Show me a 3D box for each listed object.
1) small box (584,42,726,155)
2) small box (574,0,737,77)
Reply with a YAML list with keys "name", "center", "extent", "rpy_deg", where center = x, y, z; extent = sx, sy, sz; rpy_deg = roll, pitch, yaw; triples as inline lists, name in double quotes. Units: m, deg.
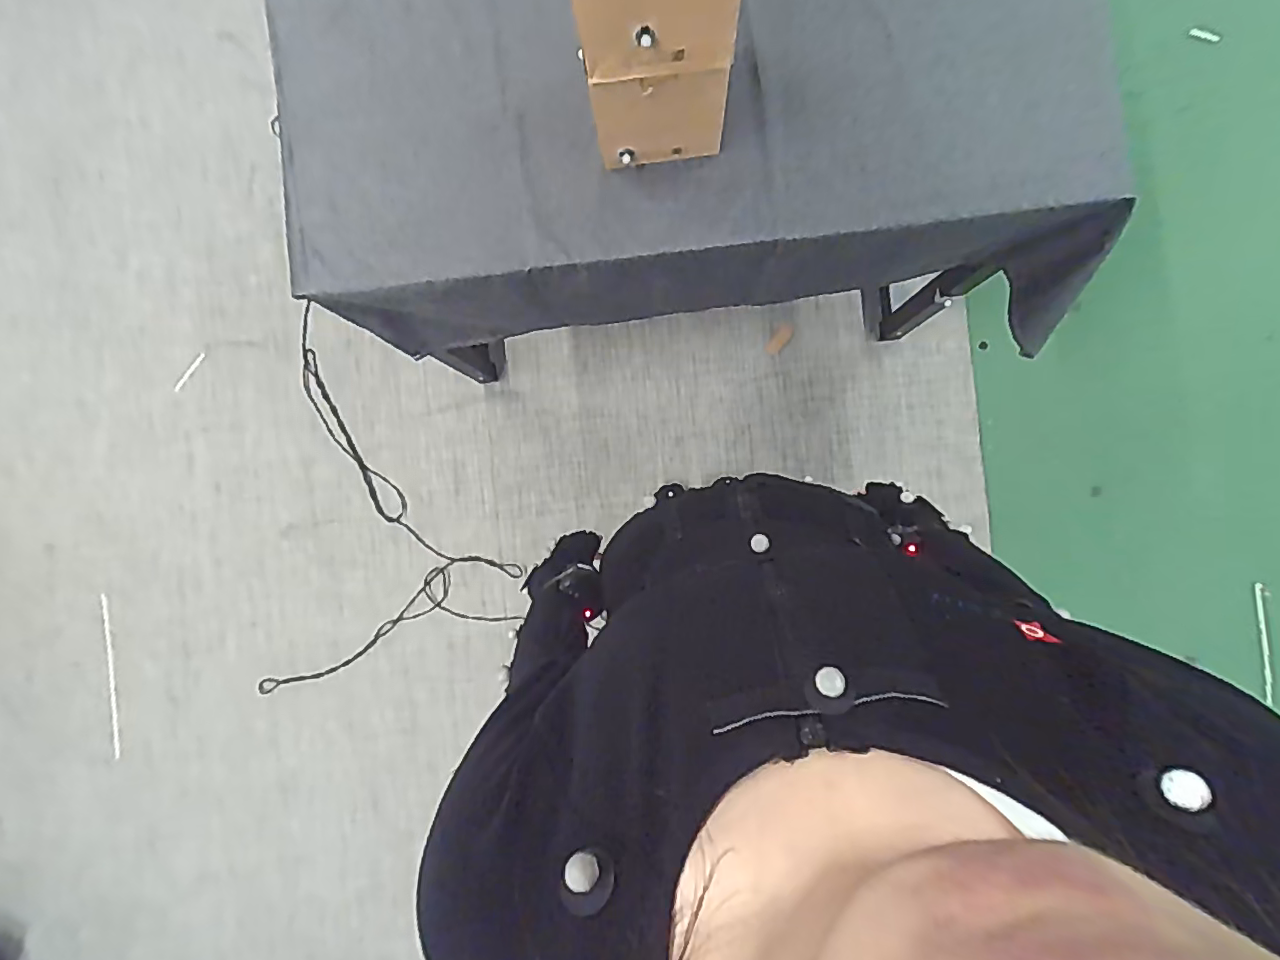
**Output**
- name: "small box"
  center: [0.019, -0.554, 0.703]
  extent: [0.168, 0.176, 0.179]
  rpy_deg: [-6, 87, 3]
- name: "small box"
  center: [0.010, -0.557, 0.541]
  extent: [0.168, 0.176, 0.179]
  rpy_deg: [-5, 89, 3]
